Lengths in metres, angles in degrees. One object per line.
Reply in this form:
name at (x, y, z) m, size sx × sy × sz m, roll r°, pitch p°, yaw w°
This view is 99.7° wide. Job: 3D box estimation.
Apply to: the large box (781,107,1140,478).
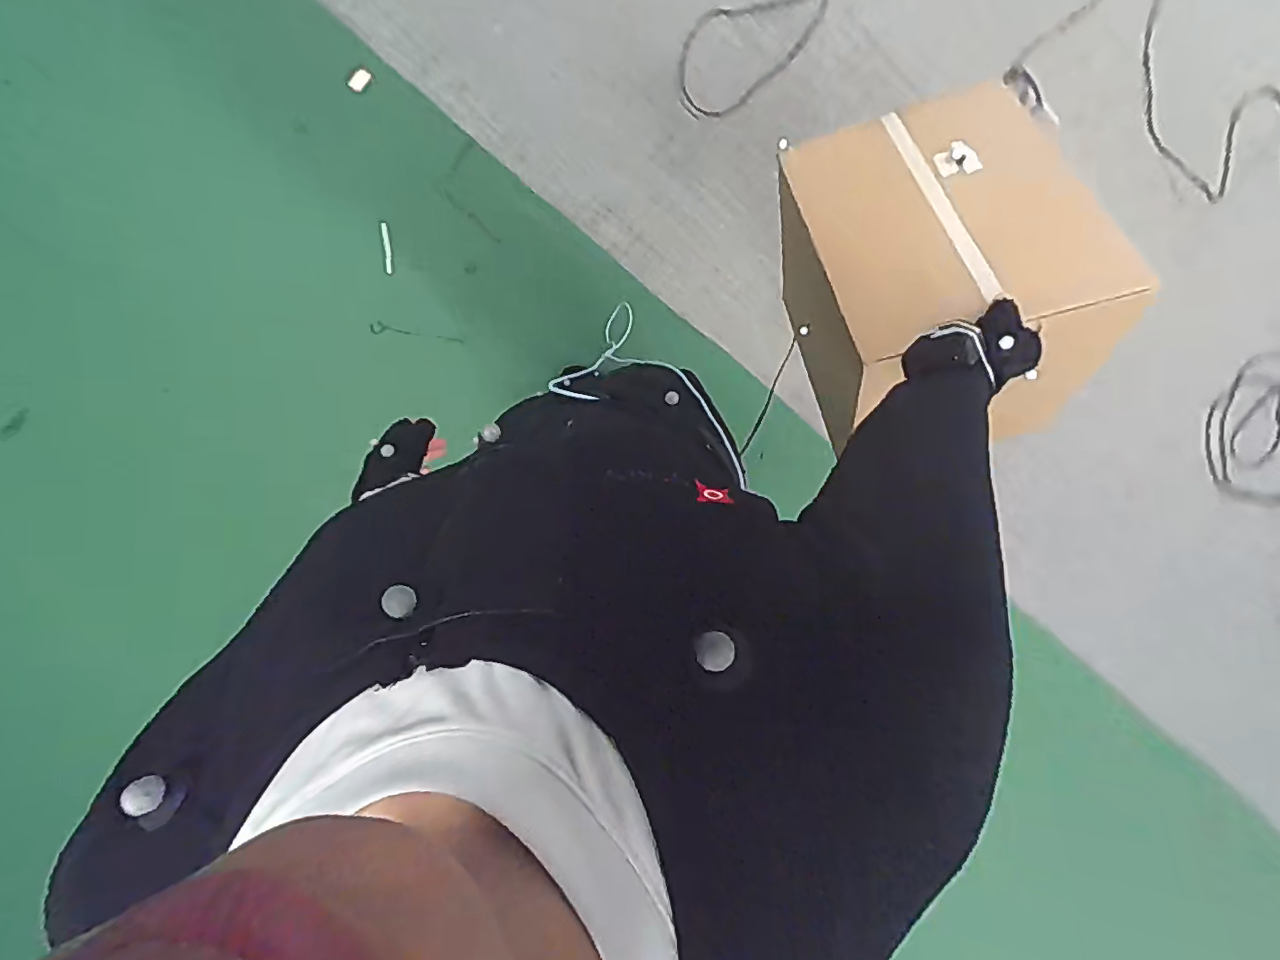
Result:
large box at (0.424, -0.267, 0.841) m, size 0.320 × 0.320 × 0.408 m, roll -12°, pitch 63°, yaw 9°
